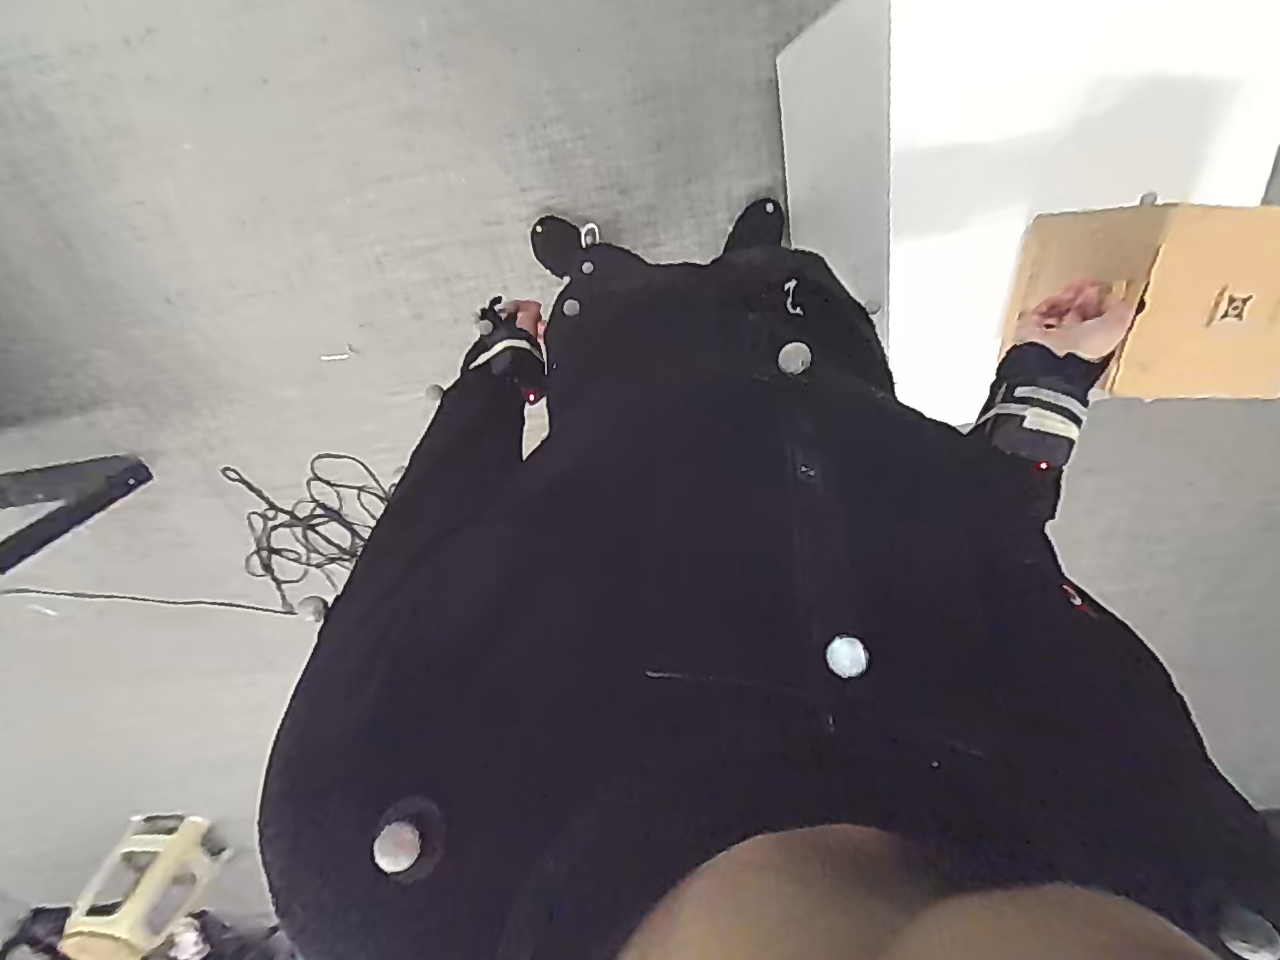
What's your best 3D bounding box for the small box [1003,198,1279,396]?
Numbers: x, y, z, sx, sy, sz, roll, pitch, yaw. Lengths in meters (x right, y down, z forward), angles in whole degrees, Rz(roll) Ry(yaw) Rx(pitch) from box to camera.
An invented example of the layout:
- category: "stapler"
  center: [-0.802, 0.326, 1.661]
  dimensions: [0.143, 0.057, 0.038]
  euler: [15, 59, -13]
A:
- category: "small box"
  center: [0.520, -0.186, 0.552]
  dimensions: [0.179, 0.176, 0.168]
  euler: [-1, 113, -3]
